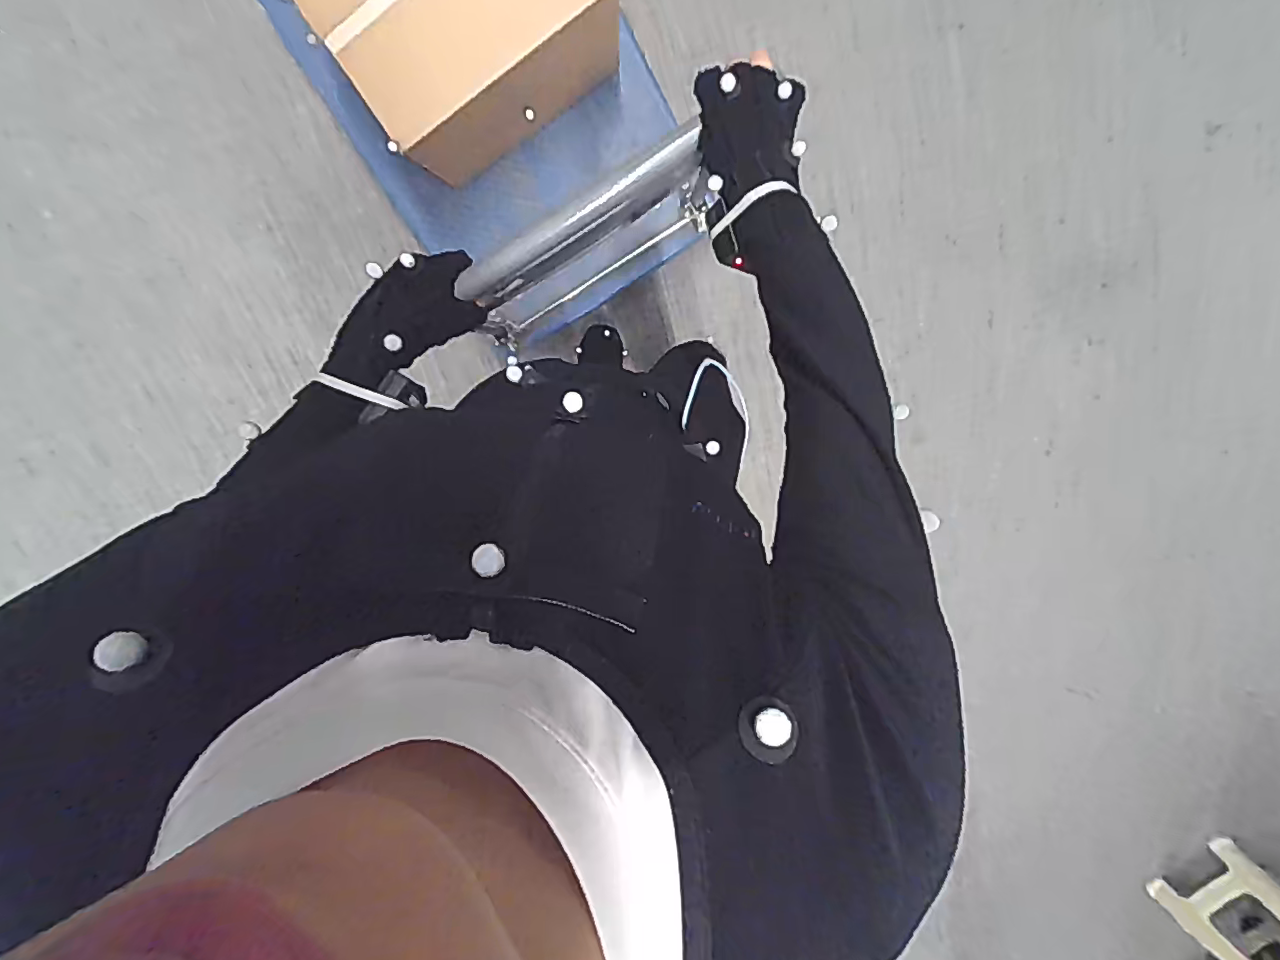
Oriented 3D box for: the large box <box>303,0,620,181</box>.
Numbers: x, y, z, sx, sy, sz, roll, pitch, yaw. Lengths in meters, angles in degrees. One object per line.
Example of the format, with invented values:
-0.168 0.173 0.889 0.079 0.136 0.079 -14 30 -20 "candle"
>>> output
-0.279 -0.782 0.897 0.408 0.320 0.320 -33 107 9 "large box"
